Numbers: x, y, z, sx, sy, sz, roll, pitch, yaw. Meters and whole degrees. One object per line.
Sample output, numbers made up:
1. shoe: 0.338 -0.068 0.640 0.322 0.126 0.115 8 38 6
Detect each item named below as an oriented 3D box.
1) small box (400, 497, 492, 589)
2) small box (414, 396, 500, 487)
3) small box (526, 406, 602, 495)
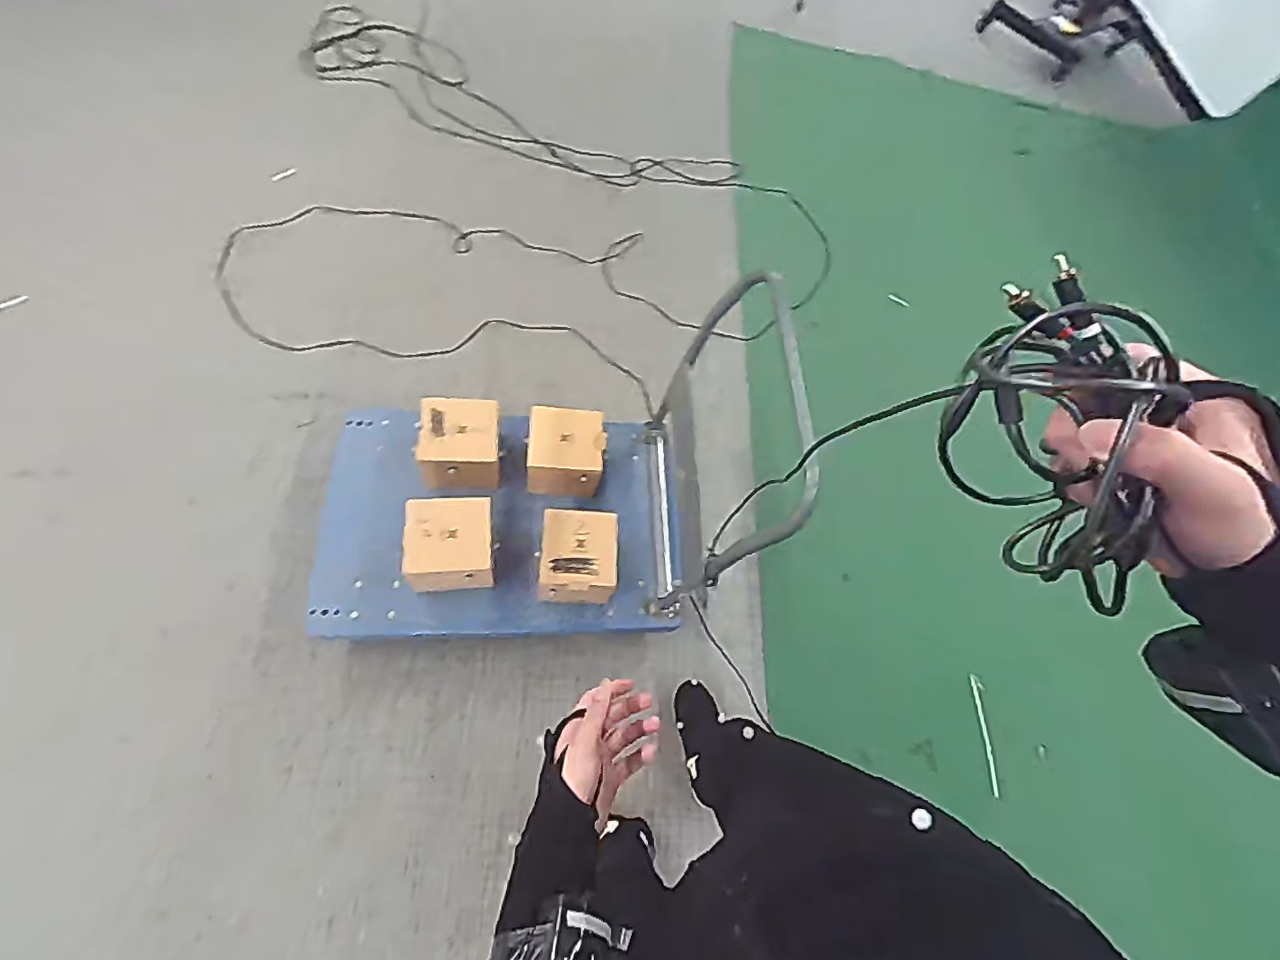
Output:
1. small box: -0.427 0.145 1.218 0.179 0.176 0.168 -1 66 -13
2. small box: -0.439 -0.088 1.319 0.179 0.176 0.168 1 67 -12
3. small box: -0.194 -0.069 1.366 0.179 0.176 0.168 4 66 -11
